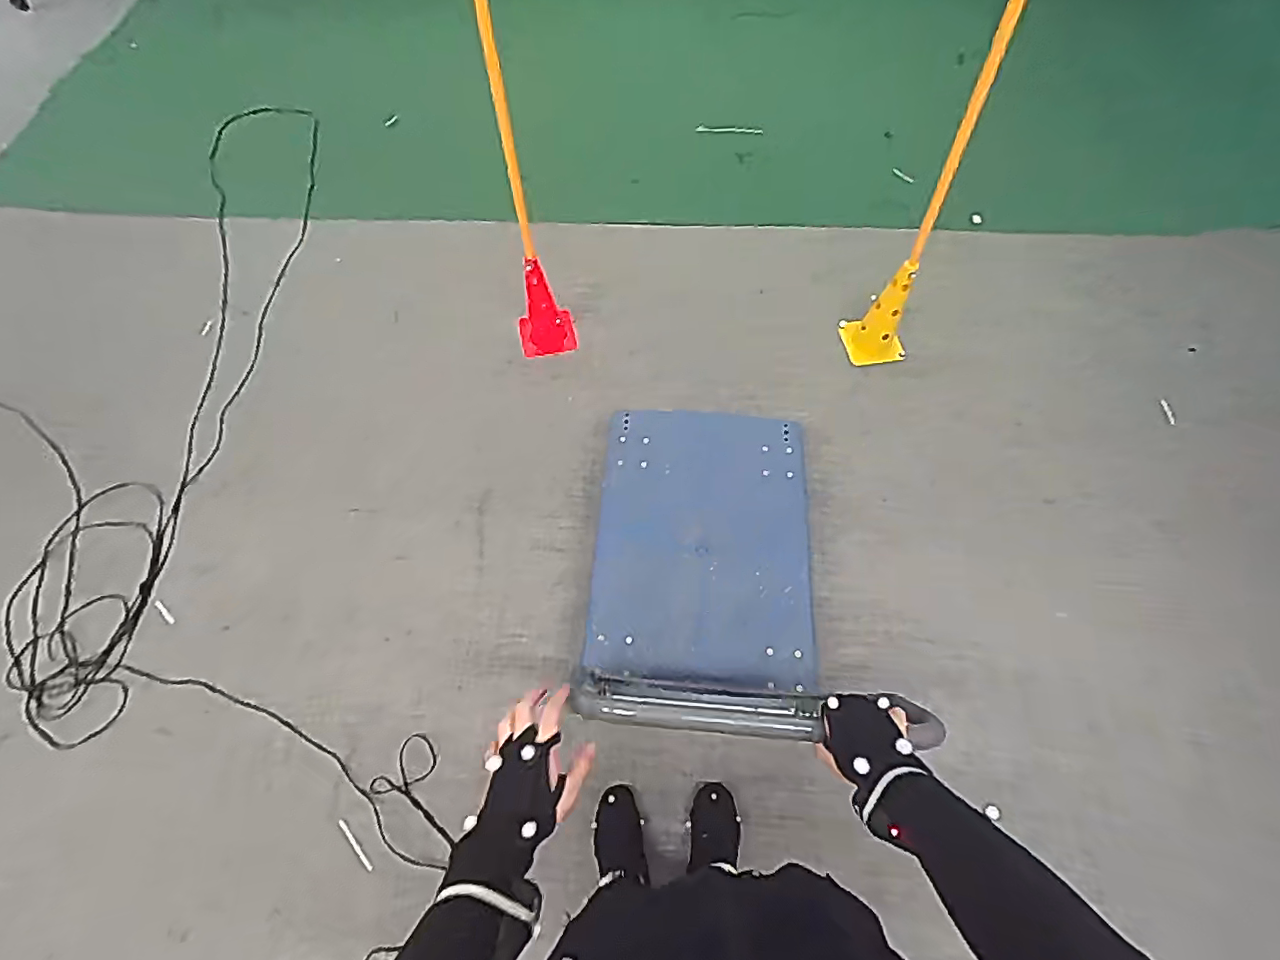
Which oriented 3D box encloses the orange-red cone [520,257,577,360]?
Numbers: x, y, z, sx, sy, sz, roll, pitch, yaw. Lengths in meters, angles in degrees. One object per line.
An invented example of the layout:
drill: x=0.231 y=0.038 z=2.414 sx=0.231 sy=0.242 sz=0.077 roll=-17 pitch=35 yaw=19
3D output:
orange-red cone: x=-0.344 y=-0.608 z=1.852 sx=0.199 sy=0.360 sz=0.198 roll=-12 pitch=63 yaw=-4
